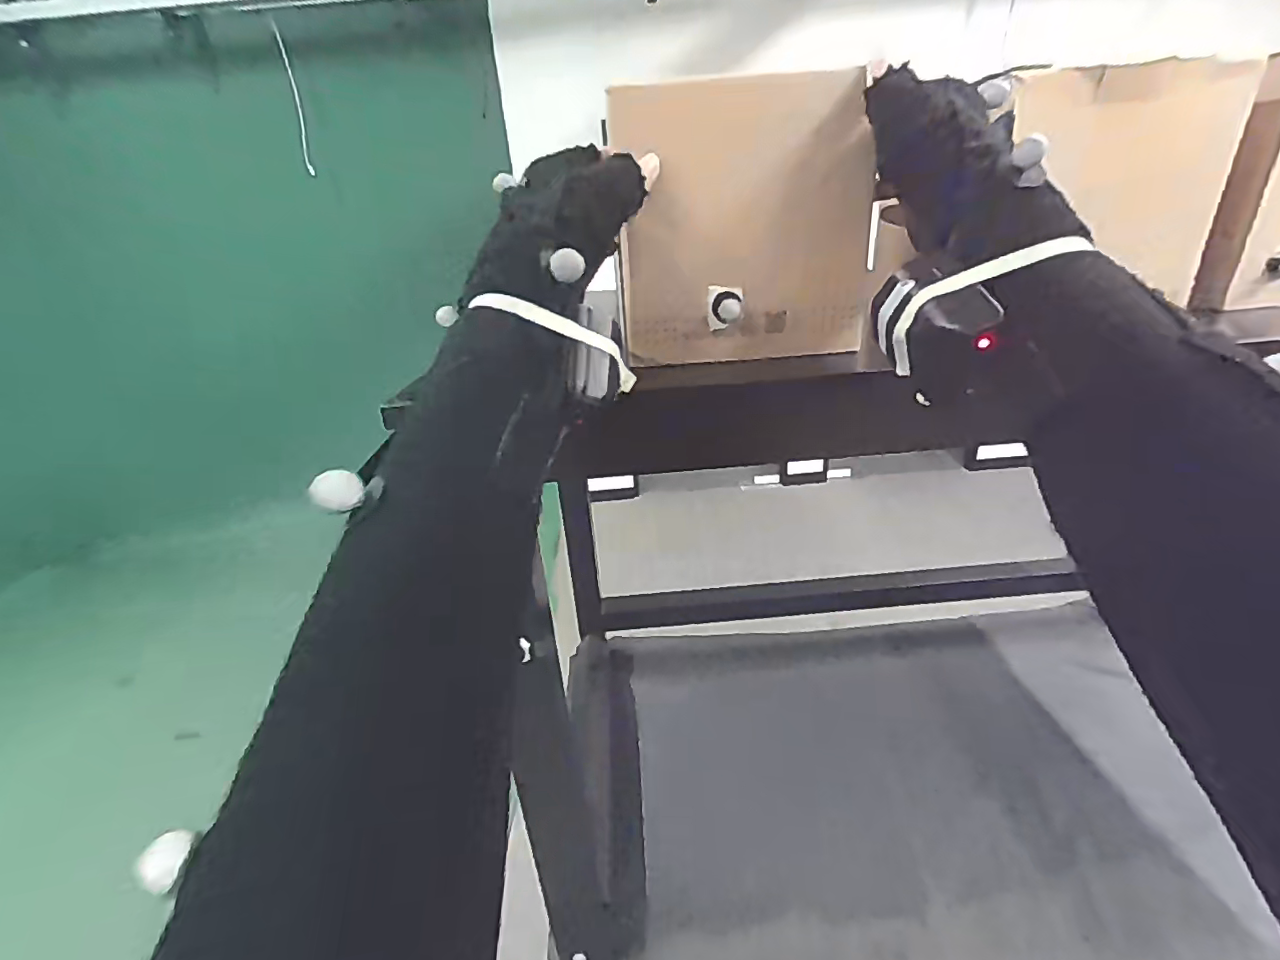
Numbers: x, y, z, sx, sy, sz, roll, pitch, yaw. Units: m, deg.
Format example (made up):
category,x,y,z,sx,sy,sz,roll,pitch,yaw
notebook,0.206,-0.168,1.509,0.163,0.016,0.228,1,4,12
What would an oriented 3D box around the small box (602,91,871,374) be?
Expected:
category,x,y,z,sx,sy,sz,roll,pitch,yaw
small box,0.060,-0.187,0.432,0.168,0.176,0.179,-5,25,0
